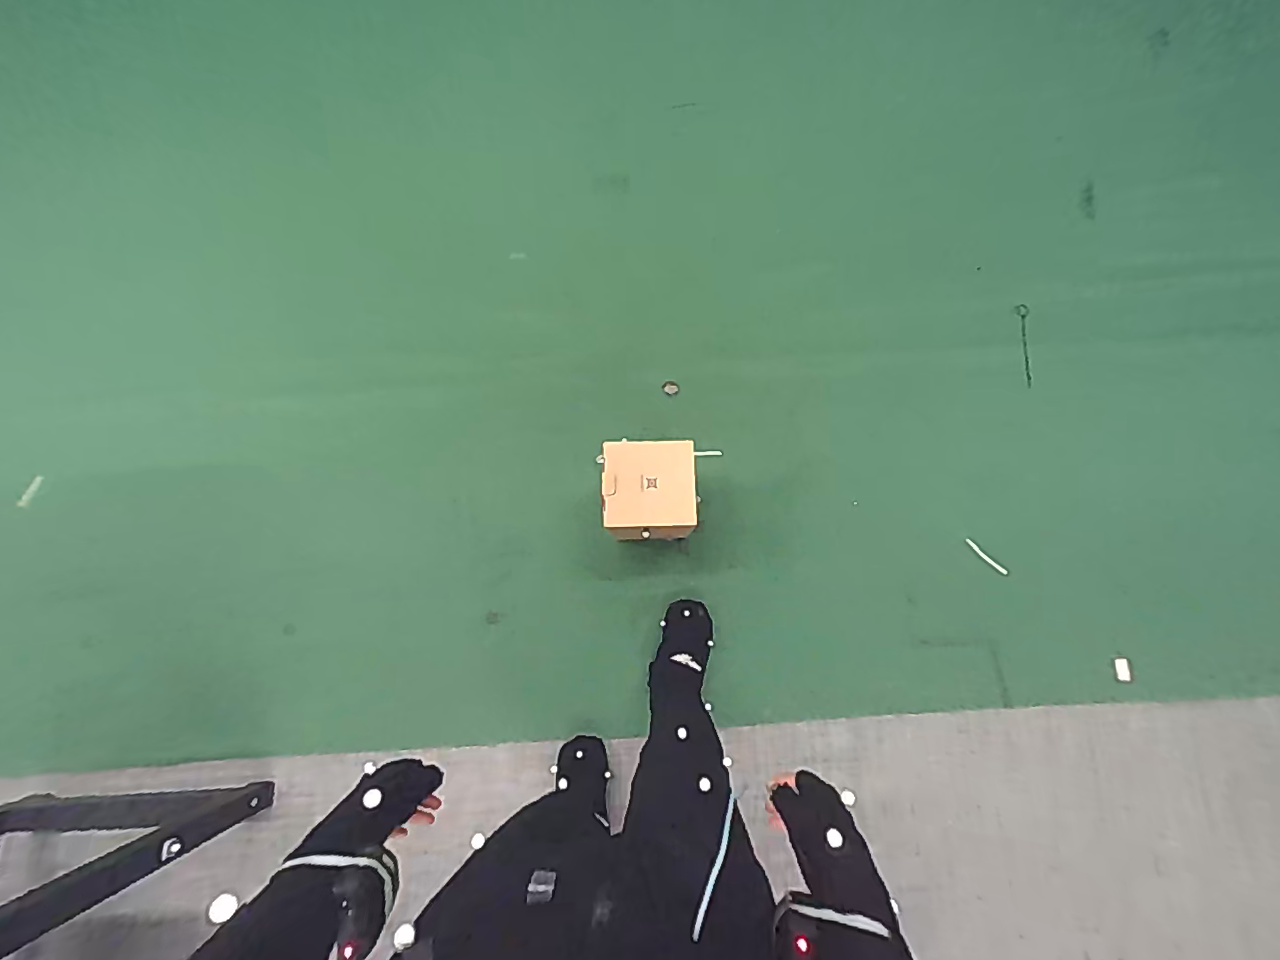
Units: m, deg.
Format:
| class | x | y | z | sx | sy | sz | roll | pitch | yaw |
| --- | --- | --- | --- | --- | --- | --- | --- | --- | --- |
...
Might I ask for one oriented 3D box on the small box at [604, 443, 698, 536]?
| class | x | y | z | sx | sy | sz | roll | pitch | yaw |
| --- | --- | --- | --- | --- | --- | --- | --- | --- | --- |
| small box | 0.020 | 0.023 | 1.093 | 0.179 | 0.176 | 0.168 | -1 | 79 | 1 |
